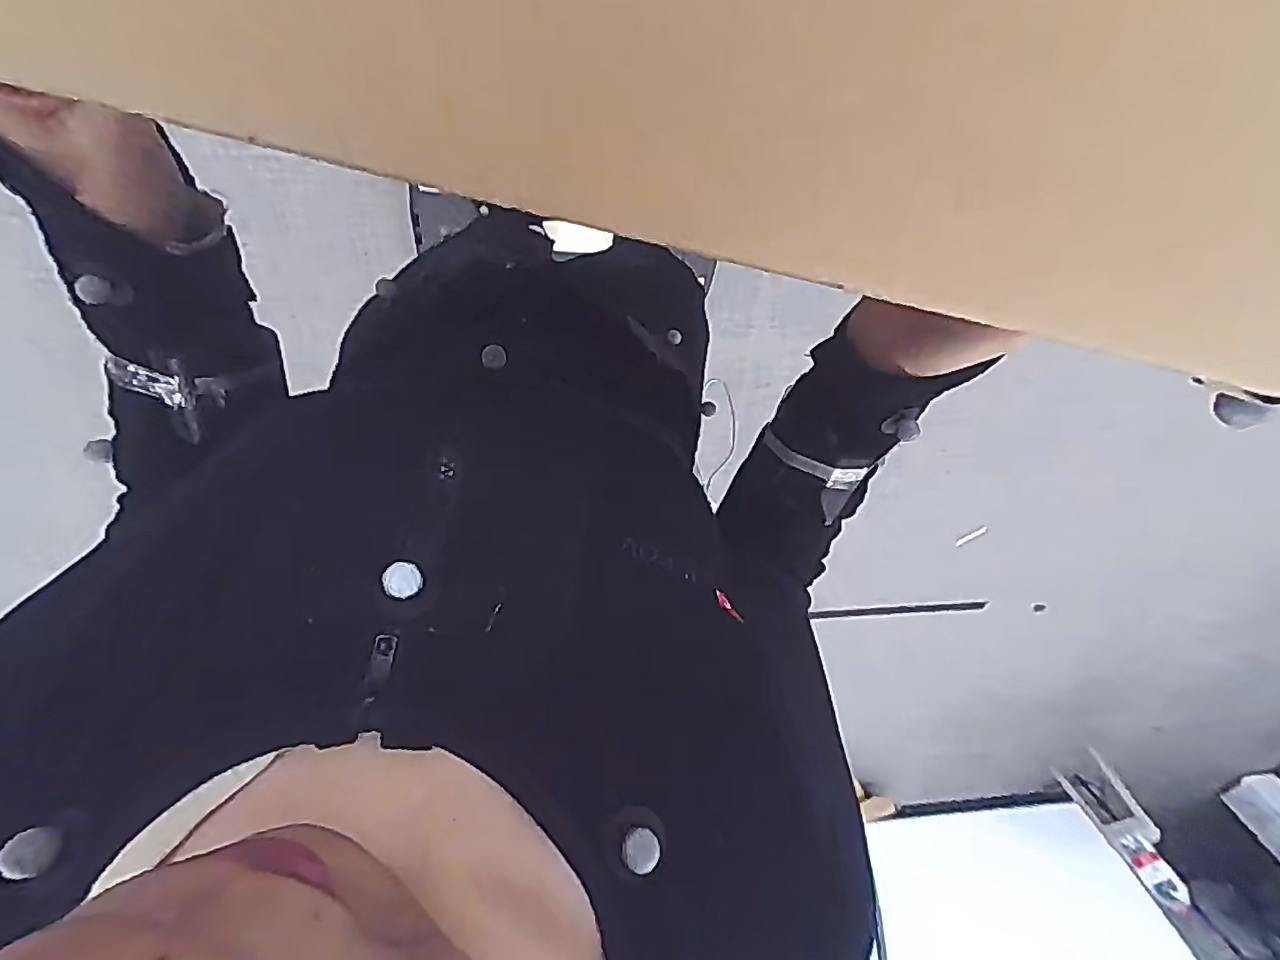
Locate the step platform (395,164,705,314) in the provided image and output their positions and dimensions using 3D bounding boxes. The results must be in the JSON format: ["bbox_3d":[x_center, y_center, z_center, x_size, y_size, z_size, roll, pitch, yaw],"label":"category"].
[{"bbox_3d":[-0.190,-0.576,1.247,0.684,0.204,0.286,4,124,-9],"label":"step platform"}]
